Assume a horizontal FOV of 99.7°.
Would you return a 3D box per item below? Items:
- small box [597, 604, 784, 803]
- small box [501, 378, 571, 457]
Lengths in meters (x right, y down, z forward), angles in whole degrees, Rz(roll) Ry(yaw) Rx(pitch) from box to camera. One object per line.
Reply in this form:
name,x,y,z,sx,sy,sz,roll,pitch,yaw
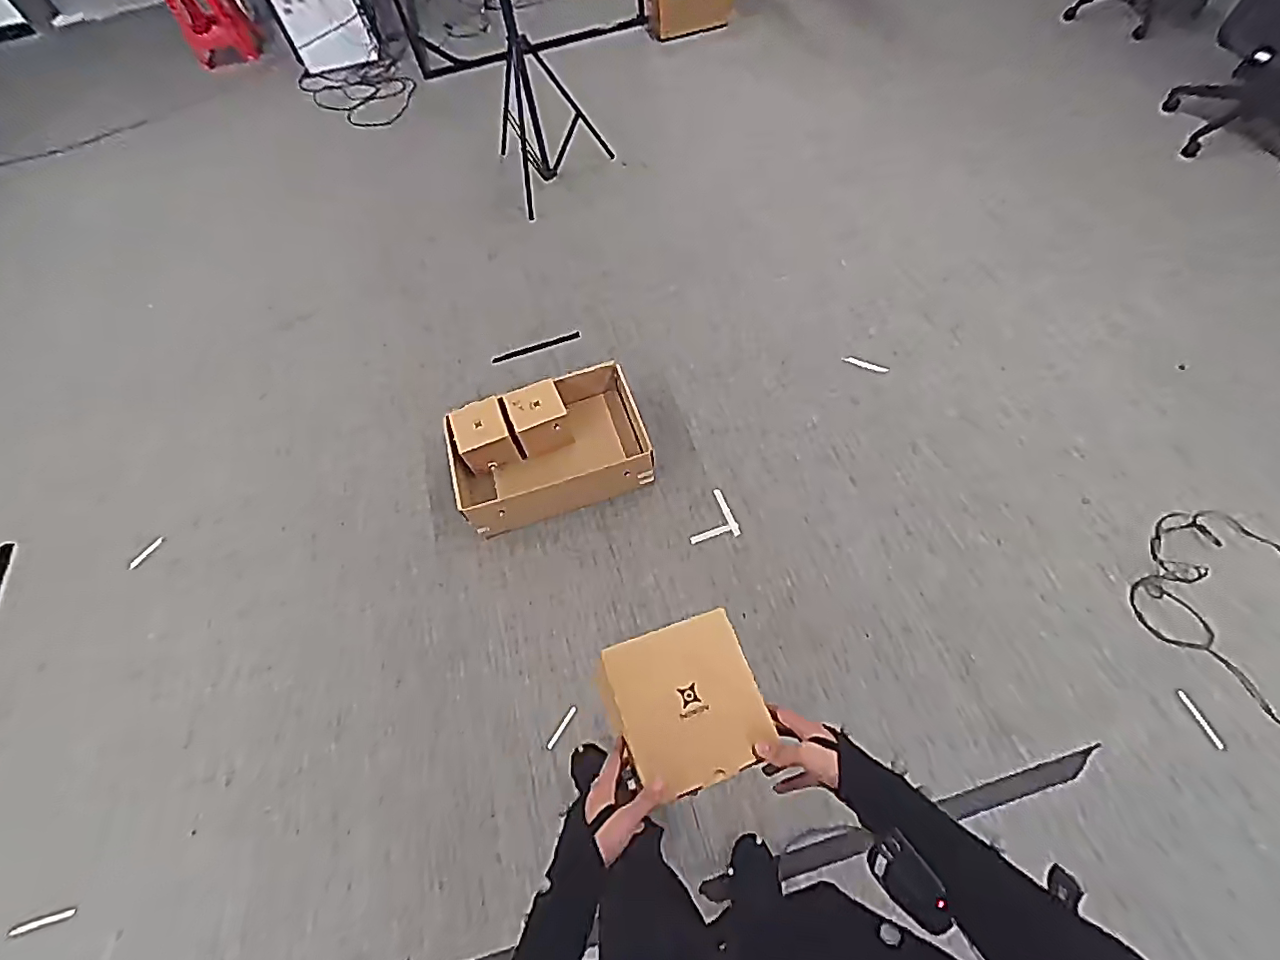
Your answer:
small box,0.048,0.283,0.687,0.168,0.176,0.179,-16,66,-15
small box,-0.339,-0.205,1.809,0.179,0.176,0.168,-23,62,-8
